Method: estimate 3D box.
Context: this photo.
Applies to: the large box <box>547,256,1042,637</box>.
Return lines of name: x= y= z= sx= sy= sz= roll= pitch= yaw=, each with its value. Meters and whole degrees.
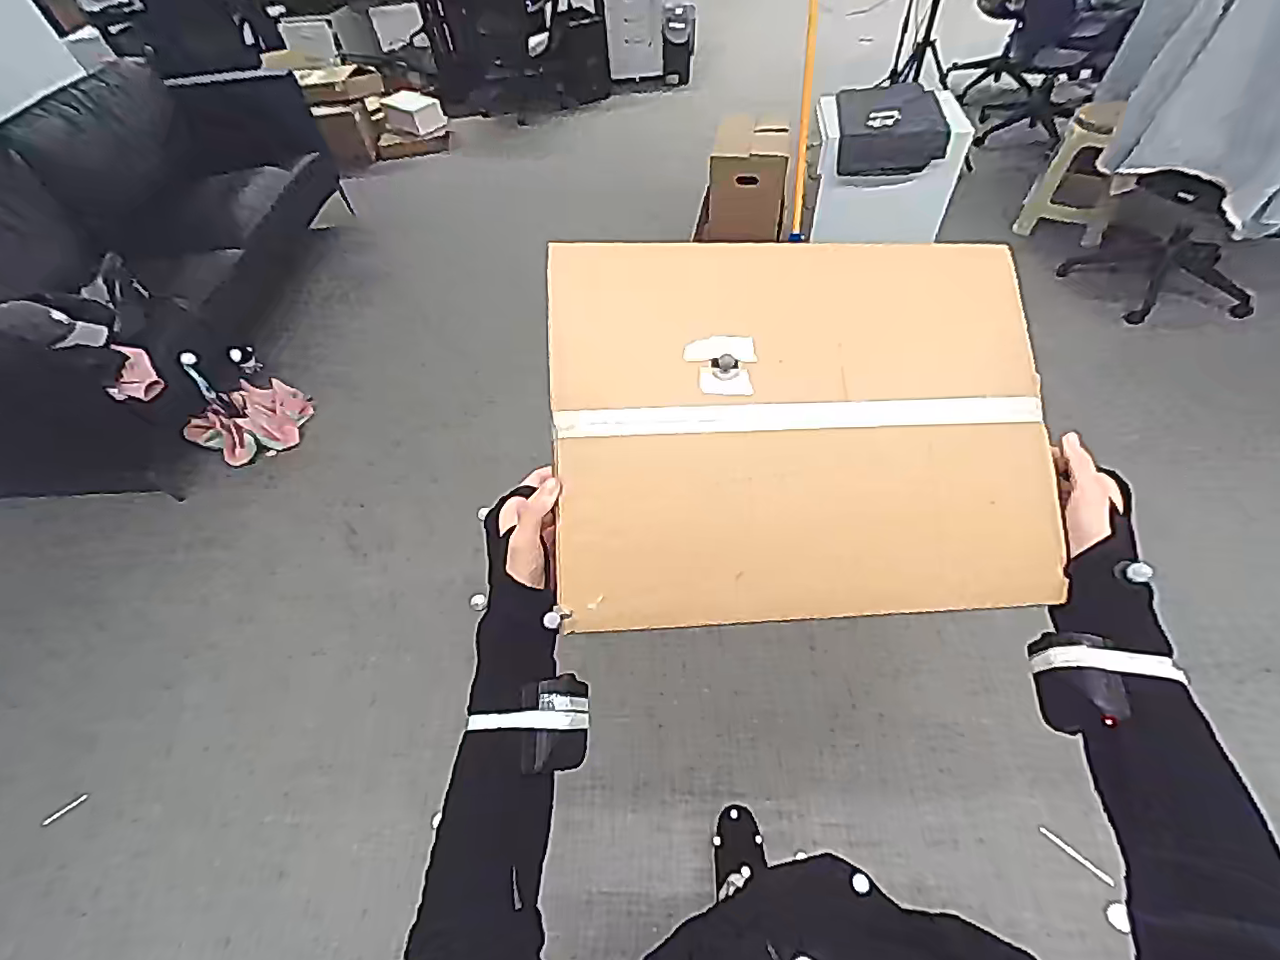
large box: x=0.120 y=-0.019 z=0.600 sx=0.408 sy=0.320 sz=0.320 roll=-3 pitch=81 yaw=-4
